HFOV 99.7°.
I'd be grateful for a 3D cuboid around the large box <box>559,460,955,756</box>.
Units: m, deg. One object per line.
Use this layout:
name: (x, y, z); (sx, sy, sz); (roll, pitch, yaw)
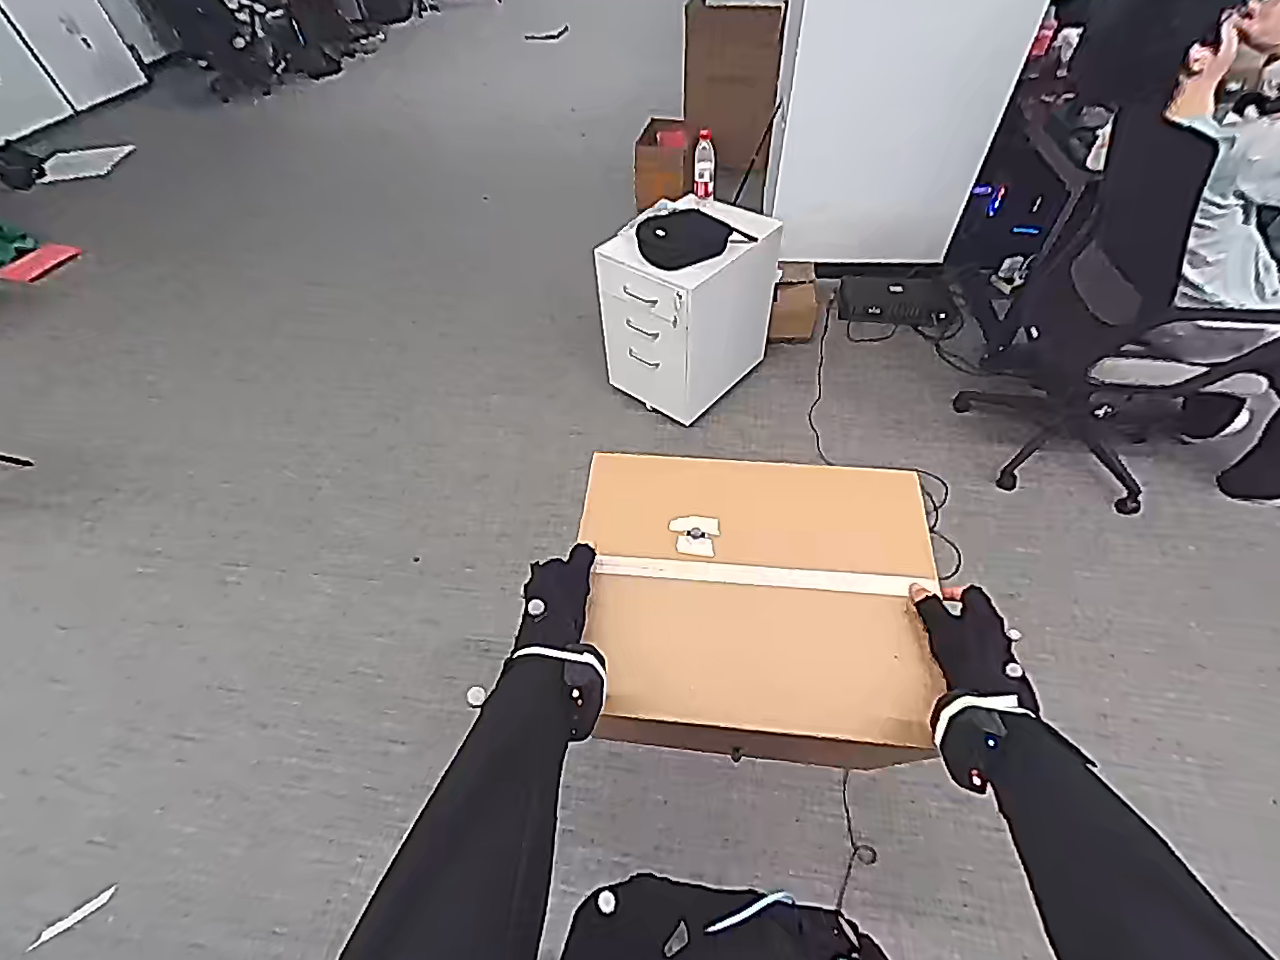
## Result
large box: (0.136, 0.188, 0.747); (0.408, 0.320, 0.320); (3, 59, 6)
